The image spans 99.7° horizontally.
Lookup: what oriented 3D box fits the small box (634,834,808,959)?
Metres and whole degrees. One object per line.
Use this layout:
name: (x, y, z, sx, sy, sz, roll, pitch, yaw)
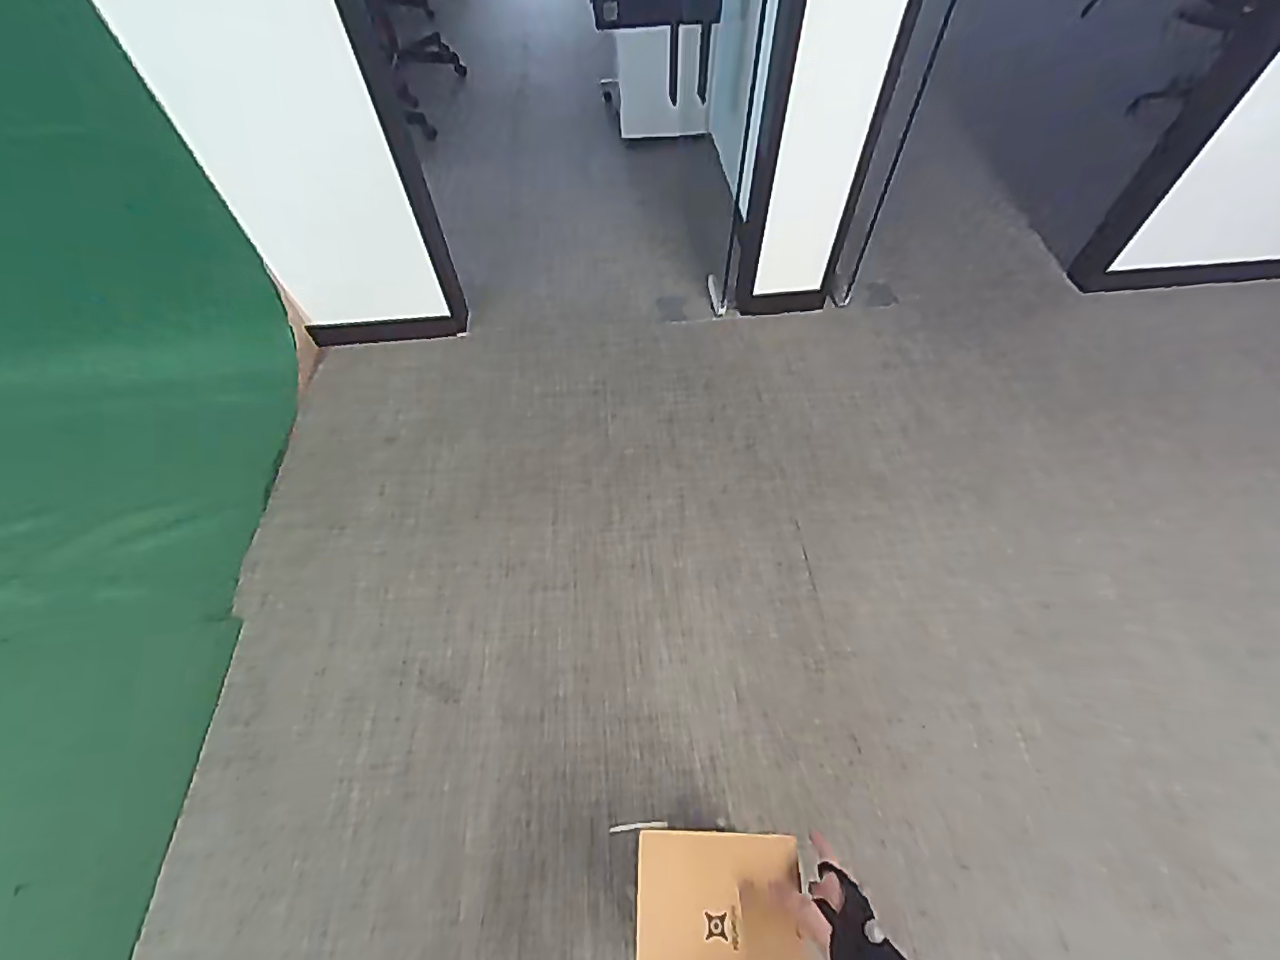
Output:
small box: (0.085, 0.511, 0.619, 0.179, 0.176, 0.168, 1, 55, 2)
